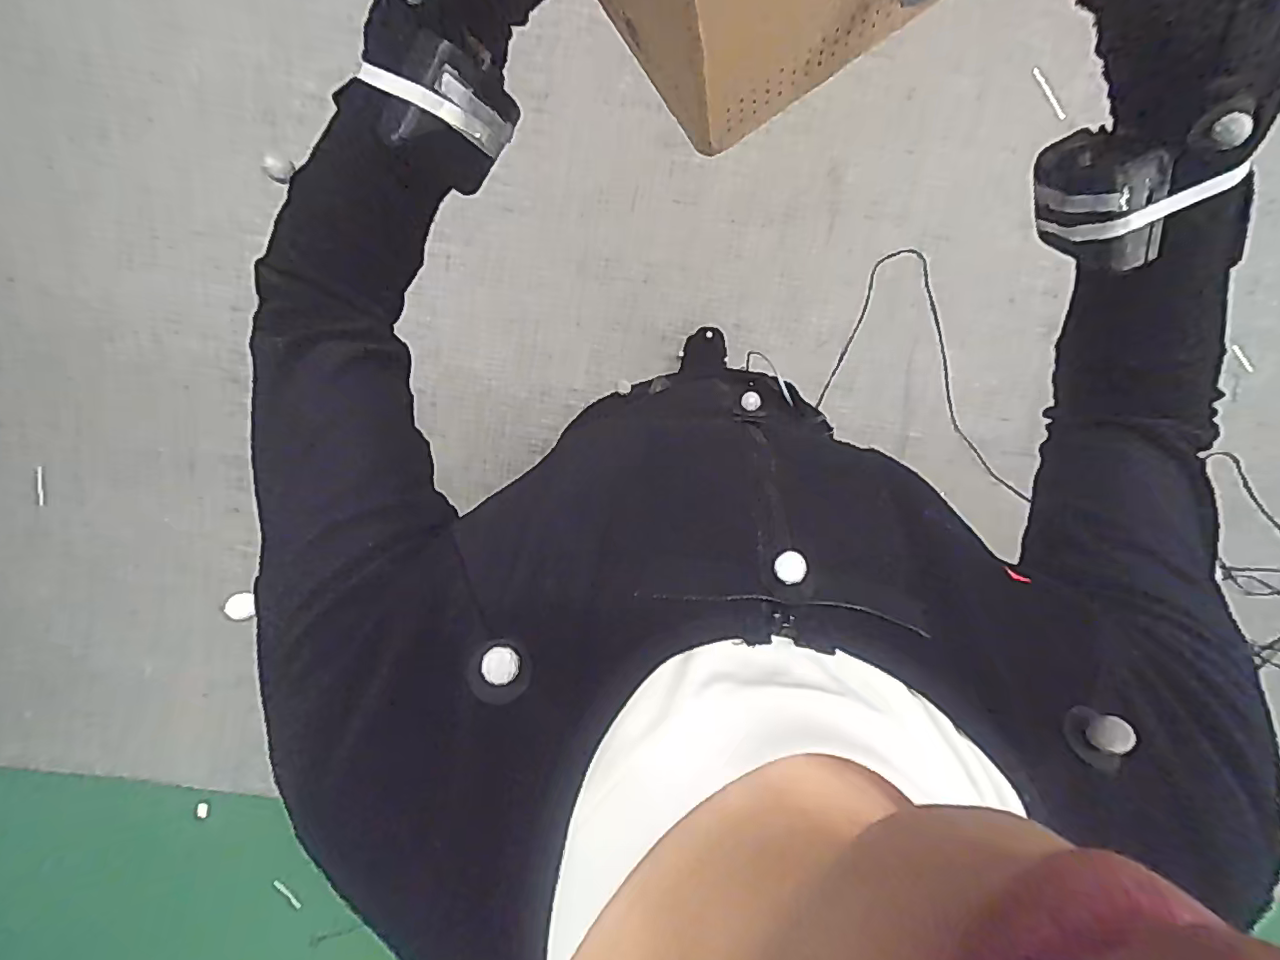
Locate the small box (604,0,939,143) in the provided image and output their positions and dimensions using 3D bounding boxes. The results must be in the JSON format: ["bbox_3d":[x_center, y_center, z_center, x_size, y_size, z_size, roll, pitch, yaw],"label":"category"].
[{"bbox_3d":[0.050,-0.260,0.164,0.179,0.176,0.168,-31,84,9],"label":"small box"}]
